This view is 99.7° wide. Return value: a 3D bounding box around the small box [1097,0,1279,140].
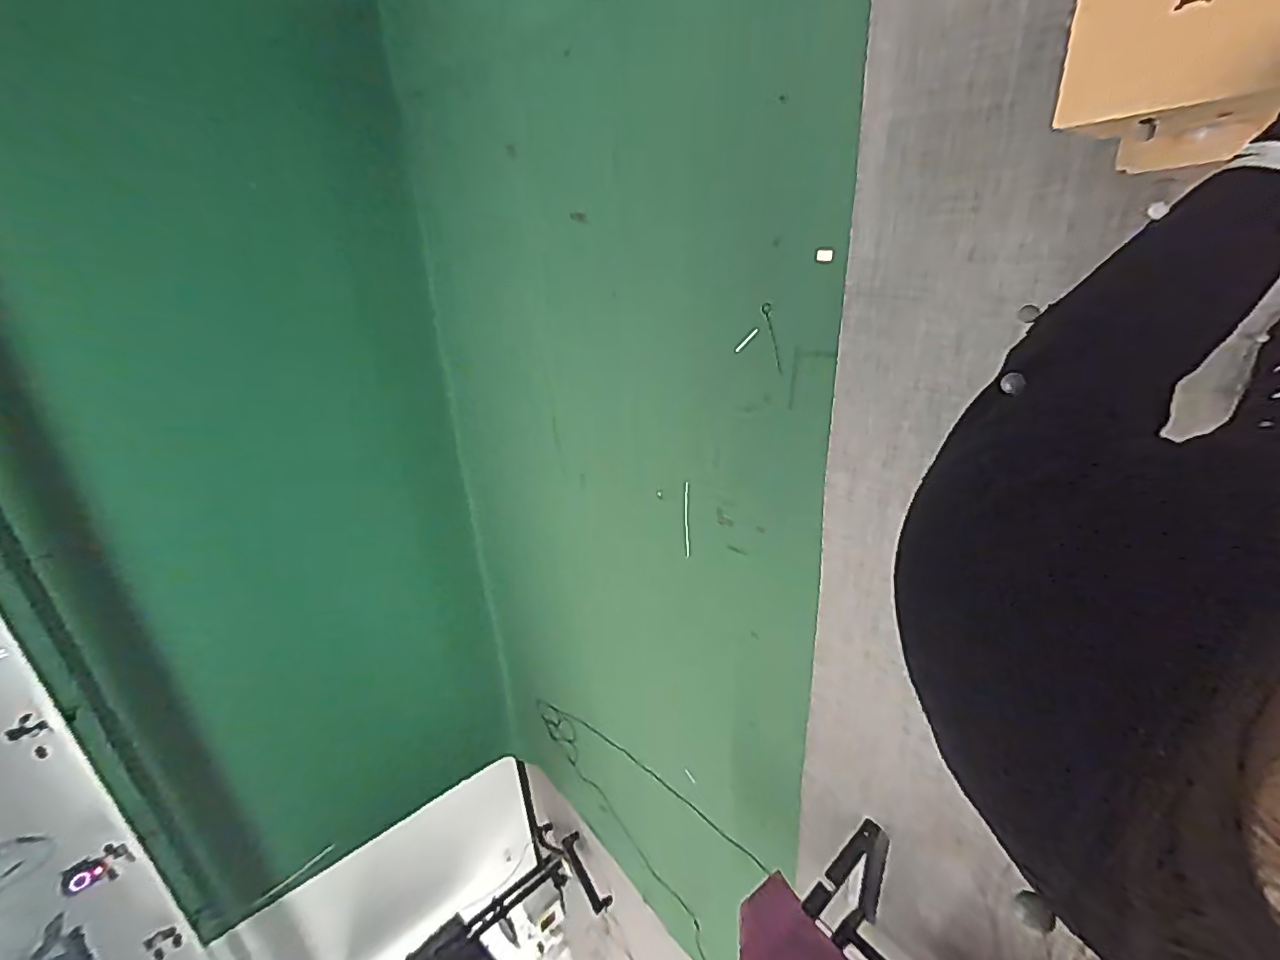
[{"bbox_3d":[0.637,-0.486,0.584,0.168,0.176,0.179,22,125,44],"label":"small box"}]
